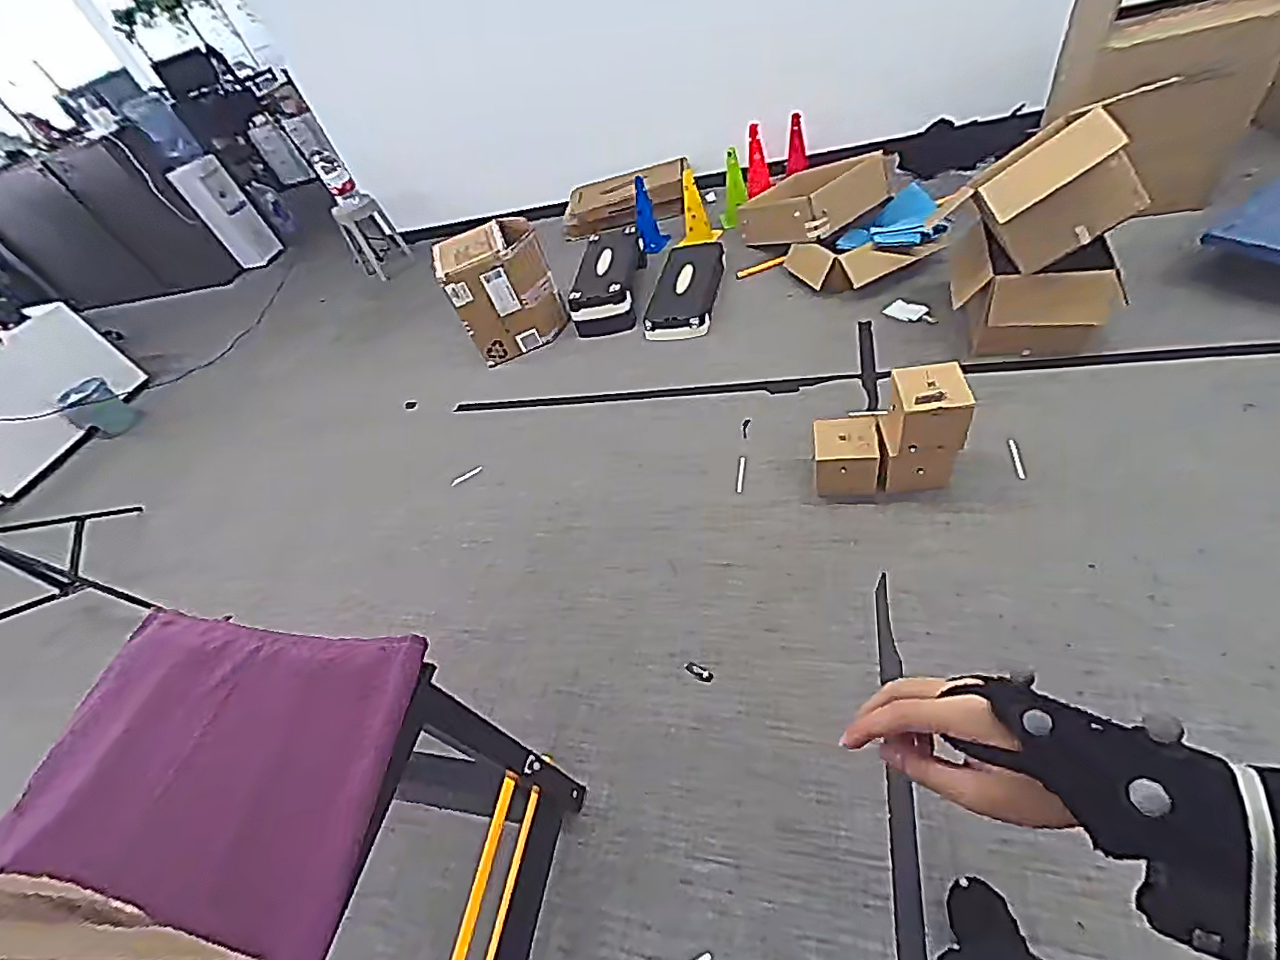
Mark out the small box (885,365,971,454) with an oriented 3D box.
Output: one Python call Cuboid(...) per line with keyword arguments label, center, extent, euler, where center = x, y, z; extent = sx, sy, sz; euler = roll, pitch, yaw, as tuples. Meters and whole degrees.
Cuboid(label="small box", center=(0.776, -0.185, 1.474), extent=(0.168, 0.176, 0.179), euler=(-5, 48, 14))
